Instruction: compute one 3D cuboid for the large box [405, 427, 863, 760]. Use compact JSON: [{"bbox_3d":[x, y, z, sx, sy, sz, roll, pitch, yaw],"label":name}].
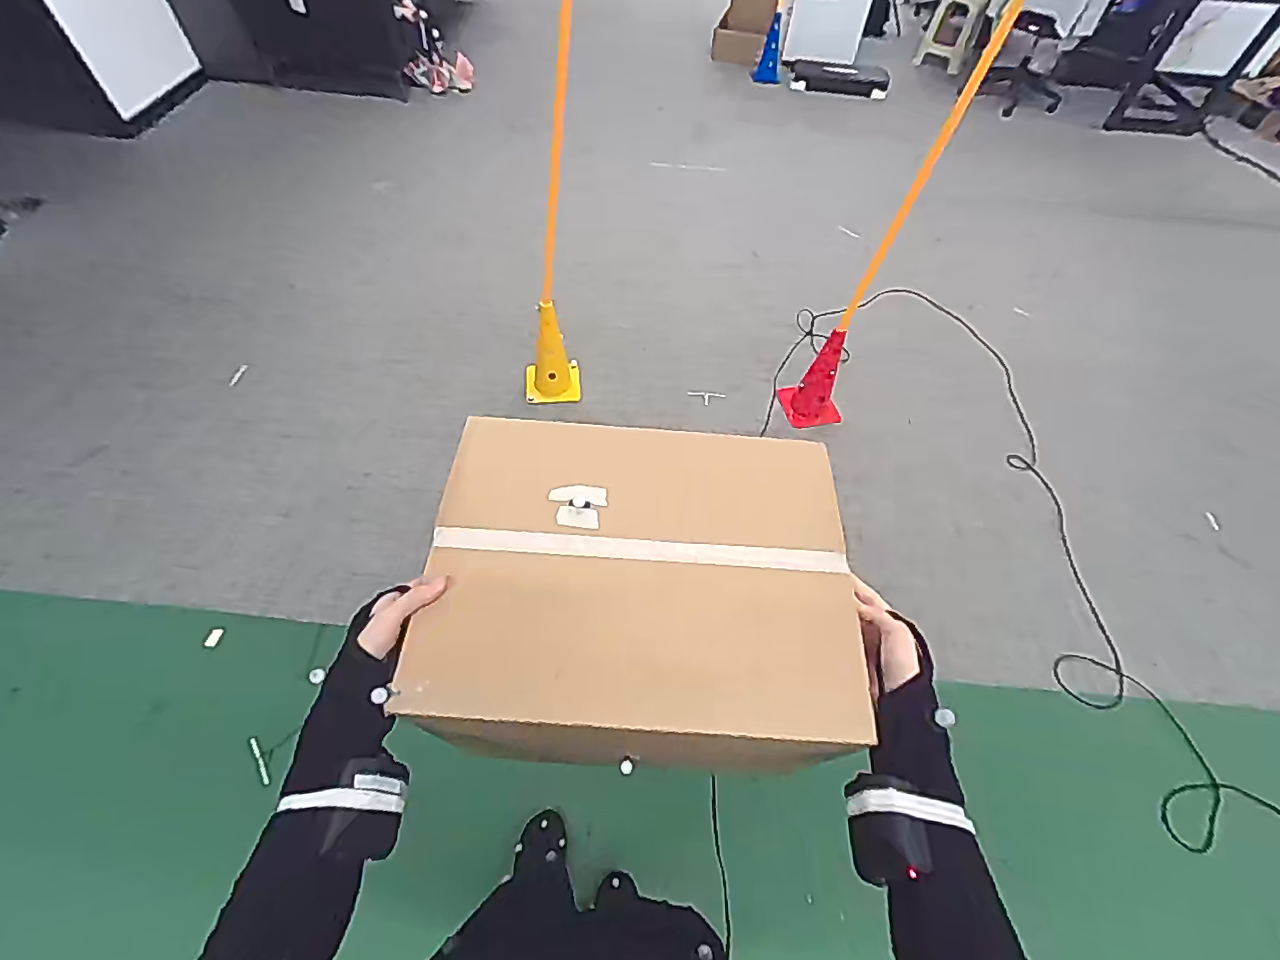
[{"bbox_3d":[-0.002,0.156,0.668,0.408,0.320,0.320,4,56,0],"label":"large box"}]
